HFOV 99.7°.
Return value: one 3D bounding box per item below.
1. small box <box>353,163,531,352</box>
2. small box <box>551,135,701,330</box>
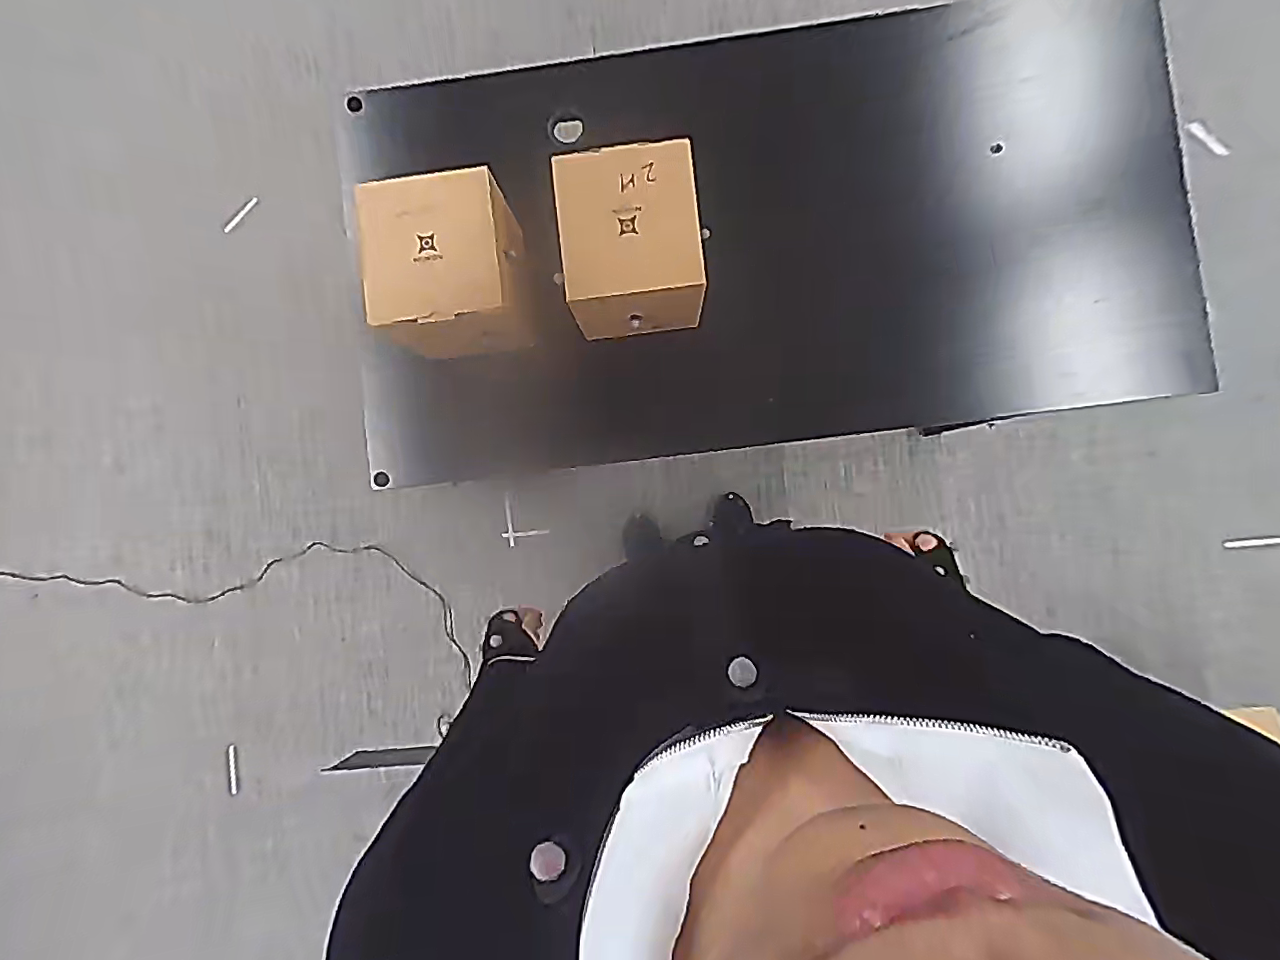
[{"bbox_3d":[-0.251,-0.279,0.721,0.168,0.176,0.179,-8,87,1],"label":"small box"},{"bbox_3d":[-0.012,-0.305,0.708,0.168,0.176,0.179,-6,88,2],"label":"small box"}]
